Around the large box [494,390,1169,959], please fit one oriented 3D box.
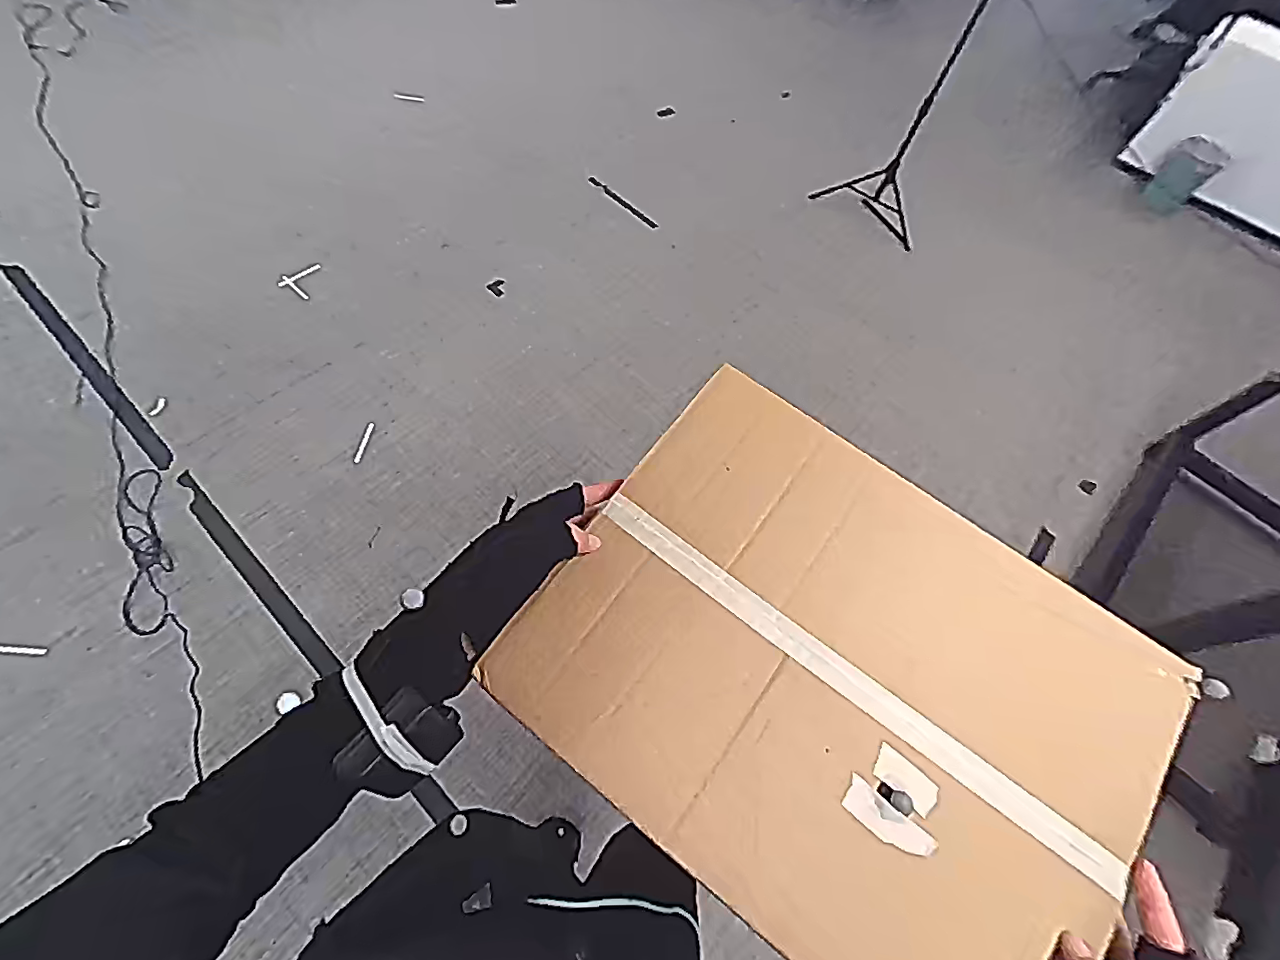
[{"bbox_3d":[0.136,0.193,0.529,0.408,0.320,0.320,36,74,11],"label":"large box"}]
